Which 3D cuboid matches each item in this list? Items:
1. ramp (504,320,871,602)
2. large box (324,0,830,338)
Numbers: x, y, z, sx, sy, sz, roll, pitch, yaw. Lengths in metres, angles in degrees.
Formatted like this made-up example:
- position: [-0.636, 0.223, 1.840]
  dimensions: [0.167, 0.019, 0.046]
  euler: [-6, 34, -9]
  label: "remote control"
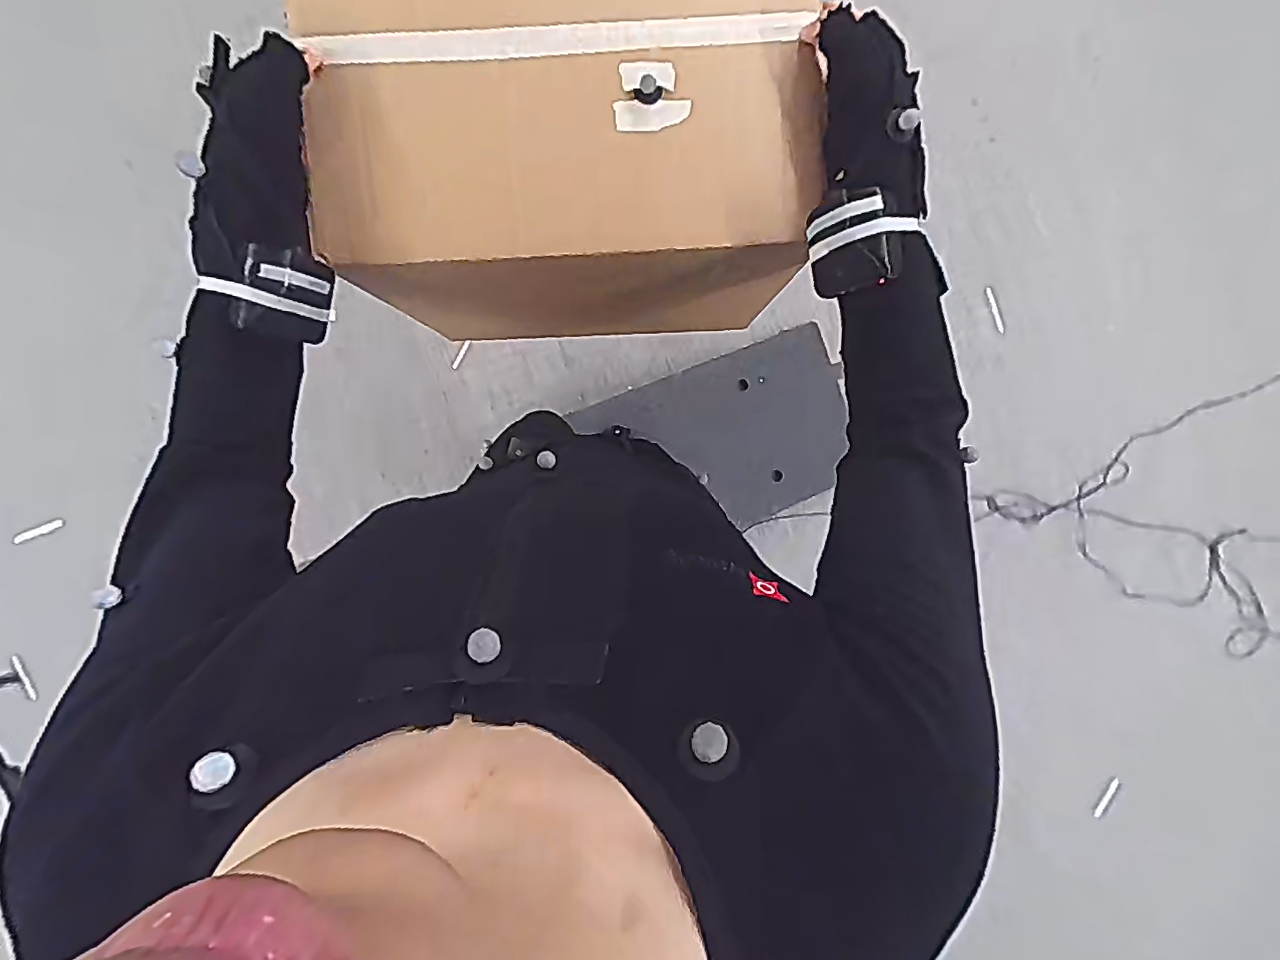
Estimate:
- position: [0.168, -0.076, 1.559]
  dimensions: [0.991, 0.206, 0.509]
  euler: [-24, 93, 0]
  label: "ramp"
- position: [-0.054, -0.348, 0.579]
  dimensions: [0.408, 0.320, 0.320]
  euler: [-3, 93, 0]
  label: "large box"
